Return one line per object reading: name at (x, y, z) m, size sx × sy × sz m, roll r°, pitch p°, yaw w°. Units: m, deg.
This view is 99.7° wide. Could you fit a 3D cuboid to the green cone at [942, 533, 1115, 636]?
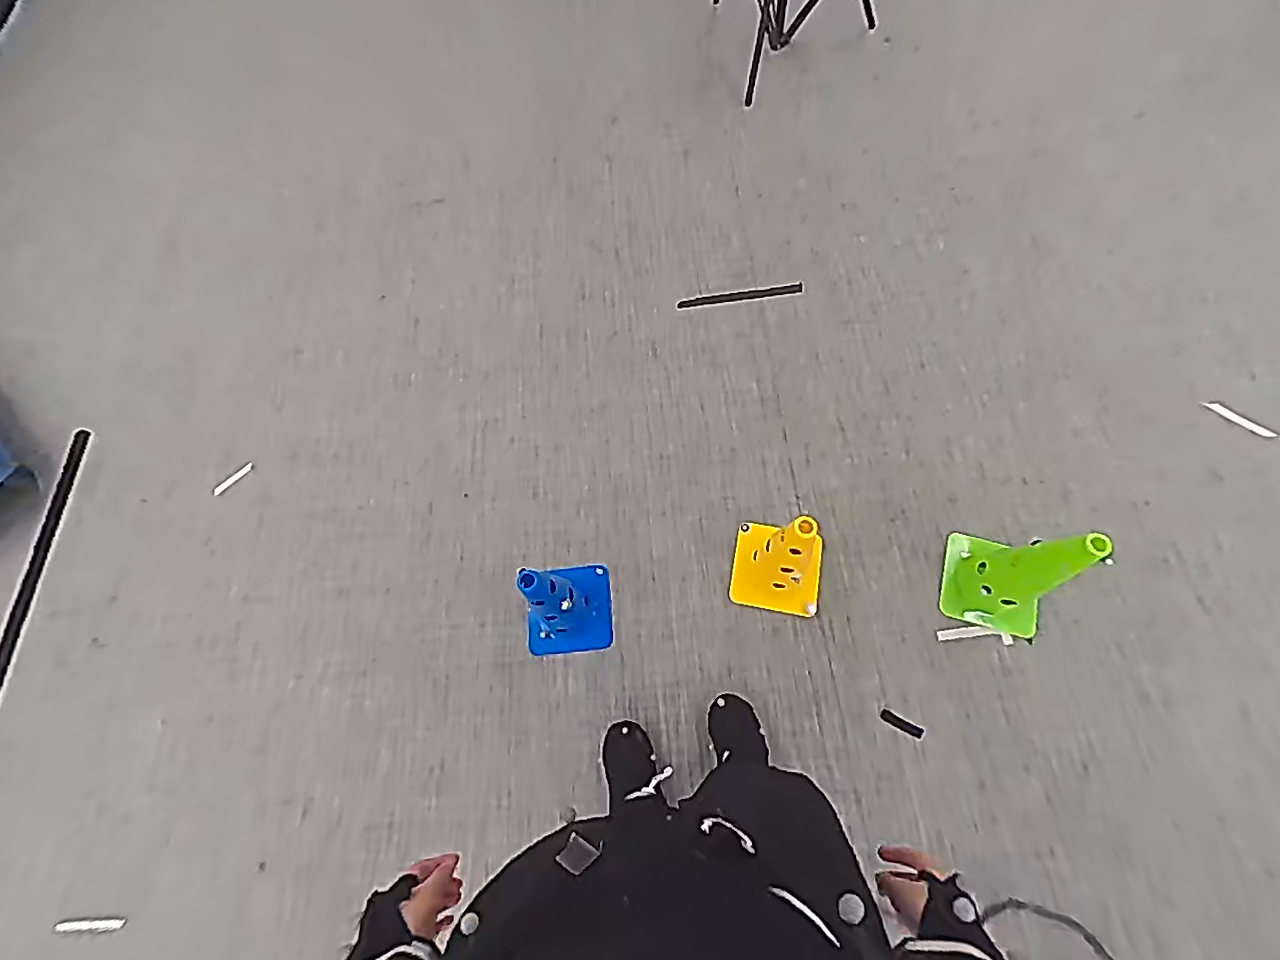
green cone at (0.777, 0.171, 1.059) m, size 0.200 × 0.368 × 0.202 m, roll 14°, pitch 71°, yaw 11°
